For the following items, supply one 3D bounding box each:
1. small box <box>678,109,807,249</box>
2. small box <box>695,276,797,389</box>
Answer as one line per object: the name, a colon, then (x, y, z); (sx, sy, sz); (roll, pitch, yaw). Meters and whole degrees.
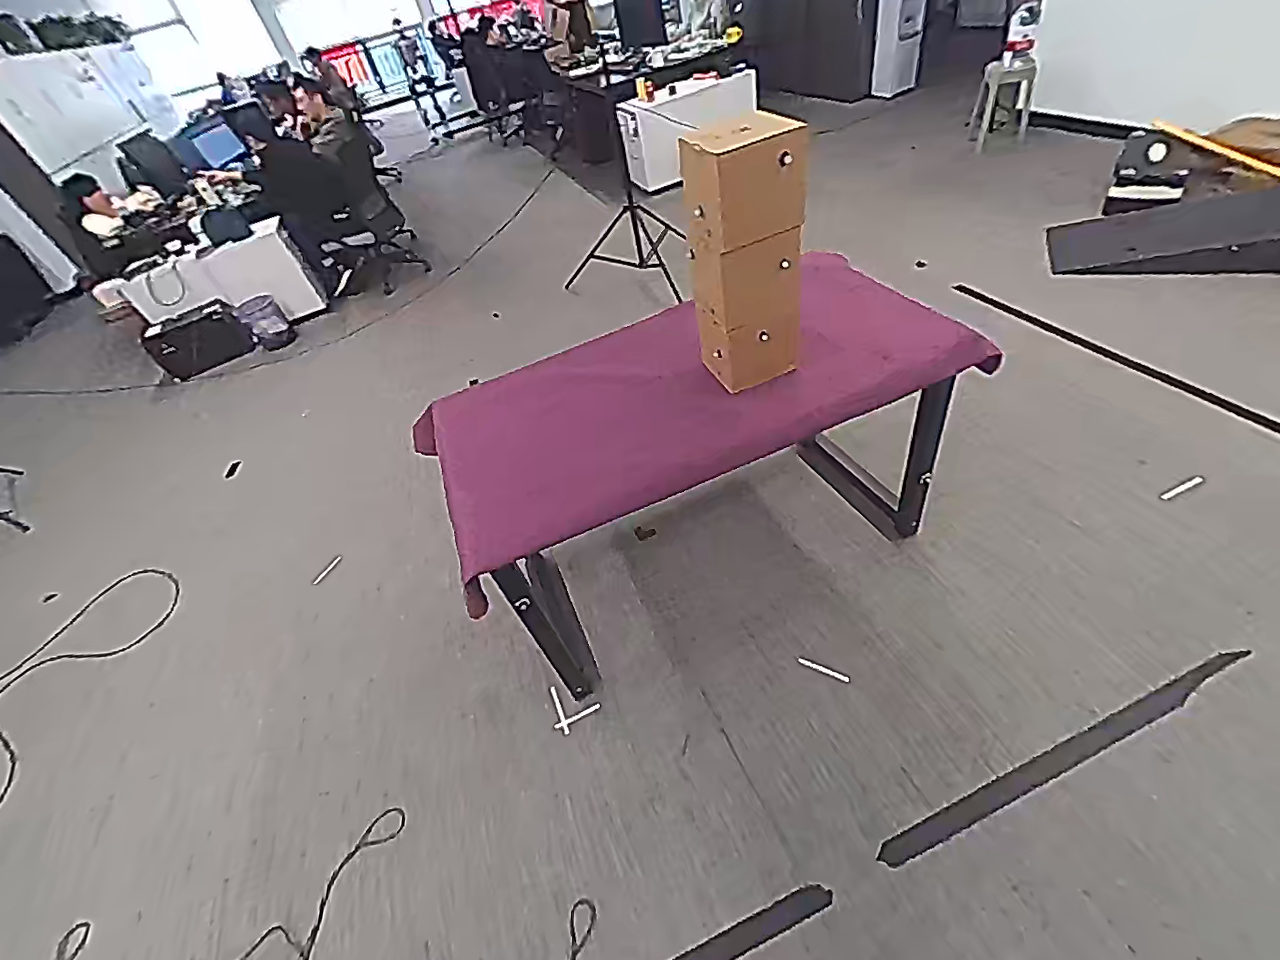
small box: (0.191, -0.564, 1.014); (0.179, 0.176, 0.168); (-23, 45, -7)
small box: (0.246, -0.337, 1.246); (0.179, 0.176, 0.168); (-22, 45, -7)
